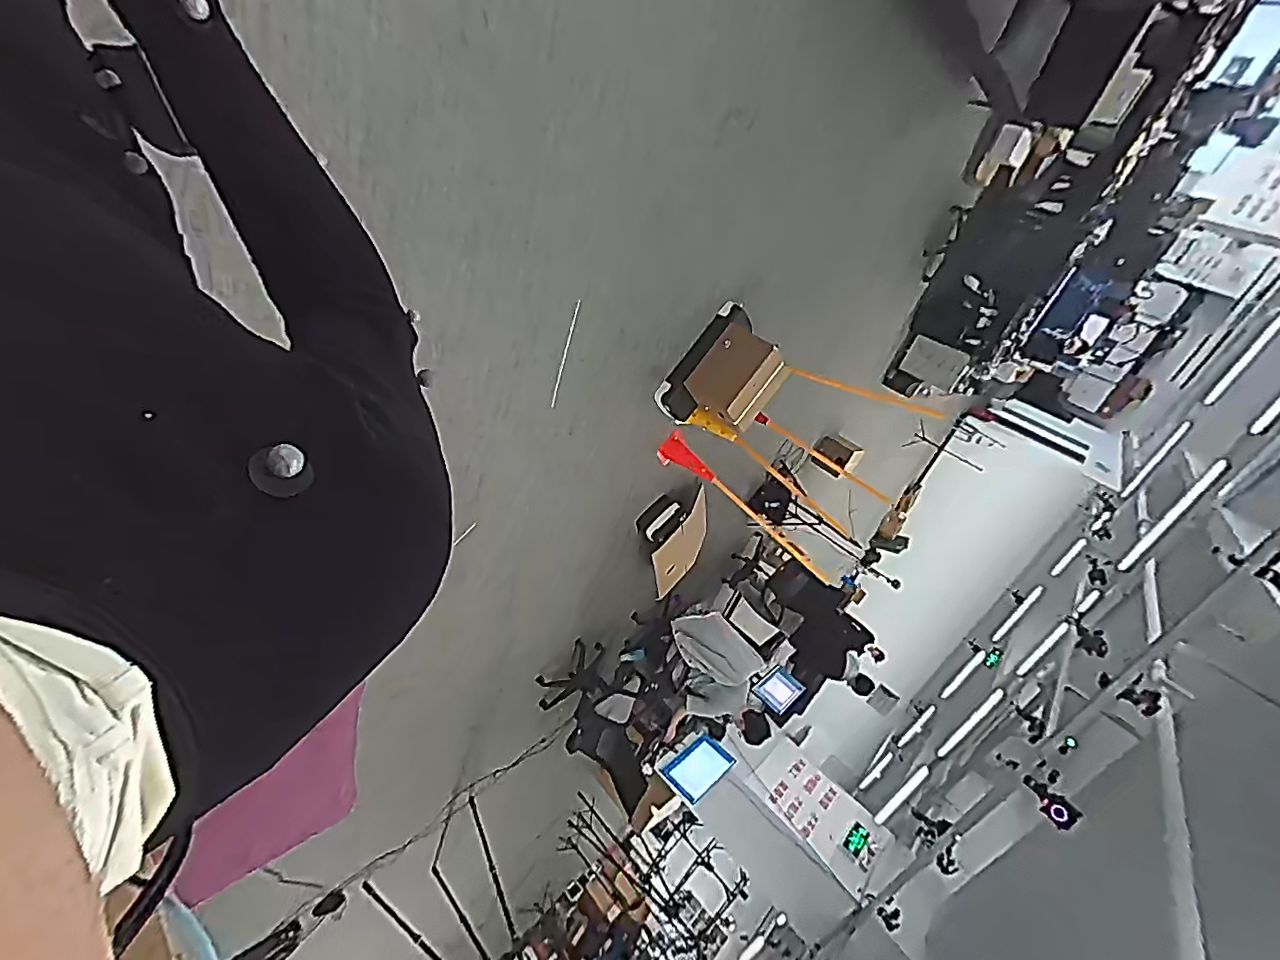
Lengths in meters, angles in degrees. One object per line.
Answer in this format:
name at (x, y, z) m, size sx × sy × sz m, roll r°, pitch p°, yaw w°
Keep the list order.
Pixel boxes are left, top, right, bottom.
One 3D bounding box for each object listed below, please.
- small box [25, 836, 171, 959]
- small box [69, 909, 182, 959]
small box at (-1.075, 0.868, 1.076) m, size 0.179 × 0.176 × 0.168 m, roll -18°, pitch 137°, yaw -44°
small box at (-0.960, 0.956, 0.998) m, size 0.179 × 0.176 × 0.168 m, roll -19°, pitch 136°, yaw -45°
